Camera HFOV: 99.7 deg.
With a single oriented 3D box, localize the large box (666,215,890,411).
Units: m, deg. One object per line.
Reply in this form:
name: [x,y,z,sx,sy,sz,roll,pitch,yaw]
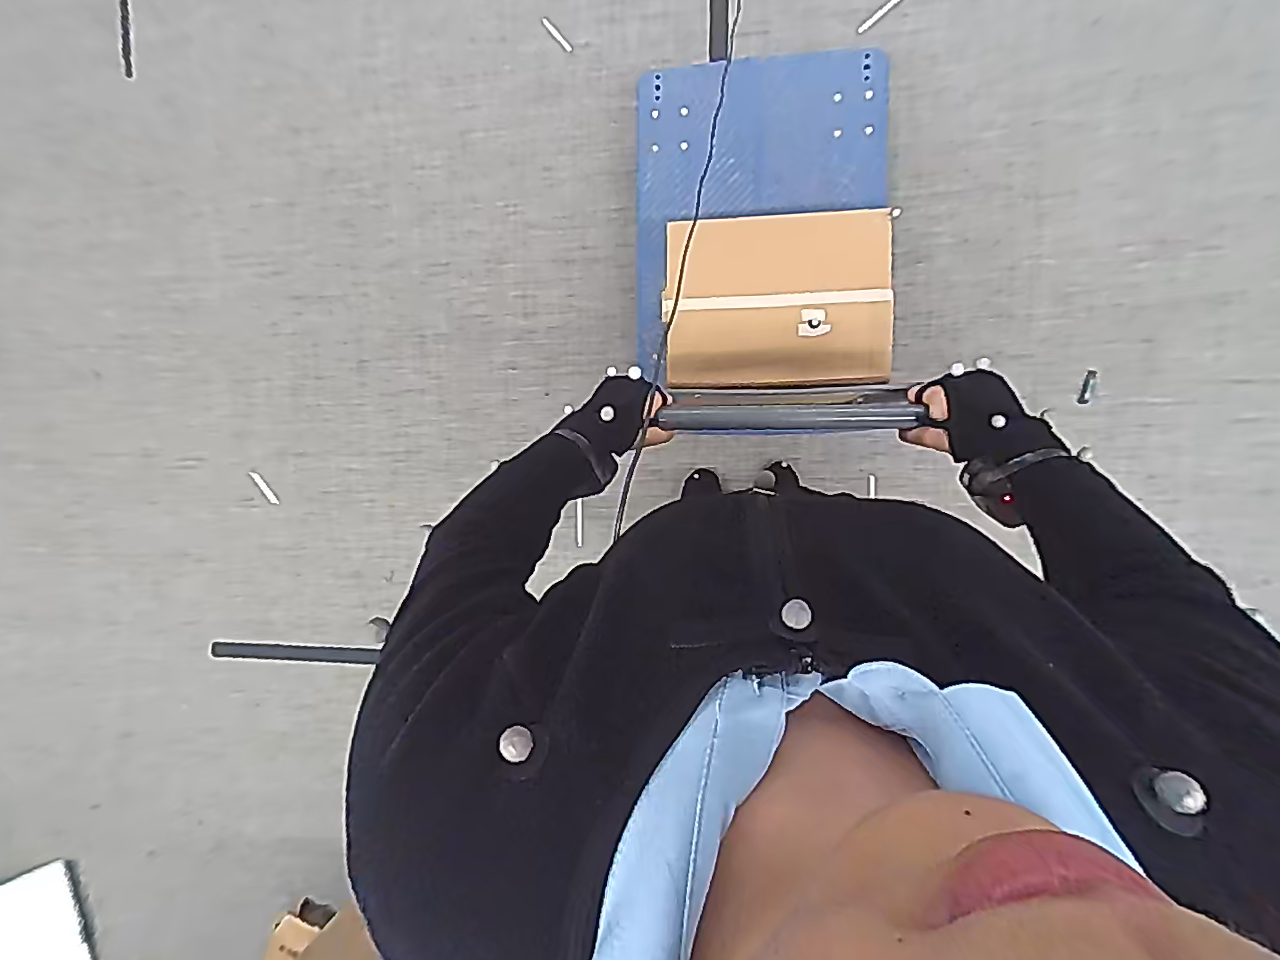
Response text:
large box: [0.265,-0.319,1.137,0.408,0.320,0.320,0,92,7]
